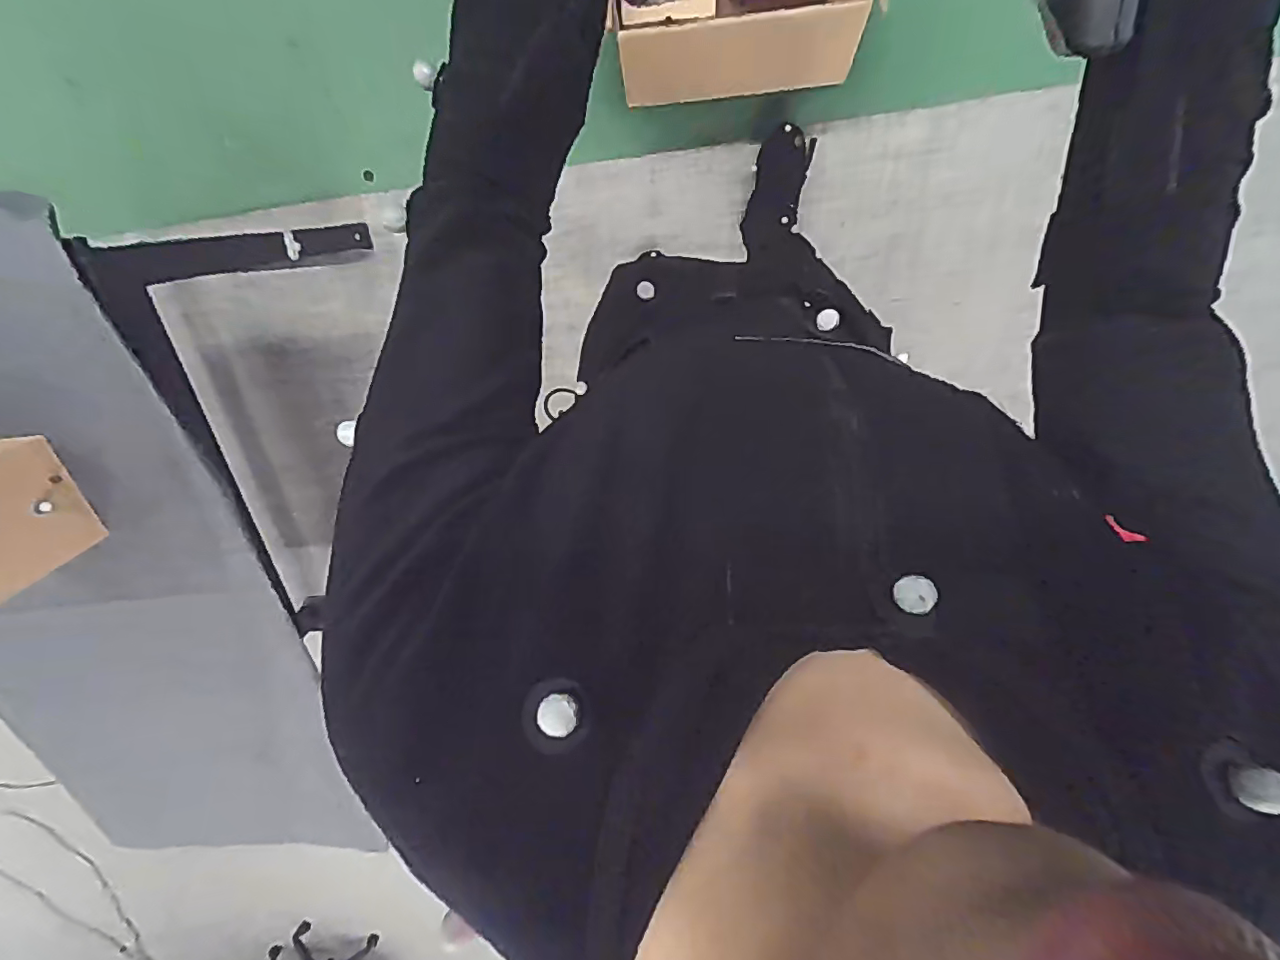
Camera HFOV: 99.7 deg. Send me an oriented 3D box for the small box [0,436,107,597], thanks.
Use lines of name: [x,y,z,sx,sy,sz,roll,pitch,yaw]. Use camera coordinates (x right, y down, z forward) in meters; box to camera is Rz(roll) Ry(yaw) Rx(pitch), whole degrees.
small box: [-0.886,0.052,0.709,0.179,0.176,0.168,-4,117,5]
